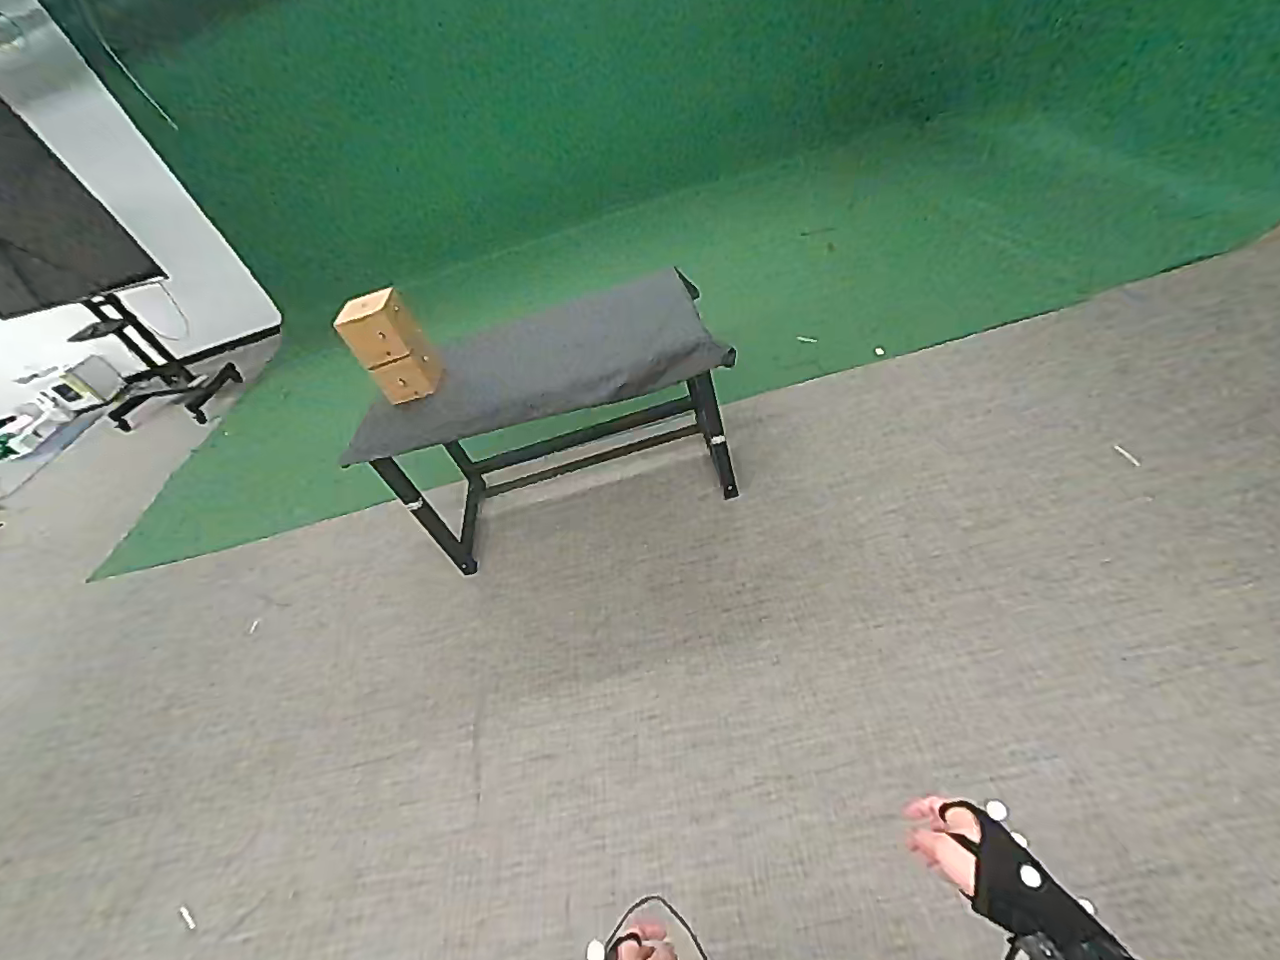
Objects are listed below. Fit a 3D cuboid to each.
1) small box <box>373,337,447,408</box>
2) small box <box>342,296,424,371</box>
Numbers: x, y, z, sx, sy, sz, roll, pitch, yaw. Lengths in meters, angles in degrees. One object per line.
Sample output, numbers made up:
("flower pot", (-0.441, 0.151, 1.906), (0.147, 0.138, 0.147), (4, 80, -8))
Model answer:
("small box", (-0.808, -0.375, 1.921), (0.168, 0.176, 0.179), (-14, 42, 6))
("small box", (-0.848, -0.481, 1.803), (0.168, 0.176, 0.179), (-15, 41, 4))
